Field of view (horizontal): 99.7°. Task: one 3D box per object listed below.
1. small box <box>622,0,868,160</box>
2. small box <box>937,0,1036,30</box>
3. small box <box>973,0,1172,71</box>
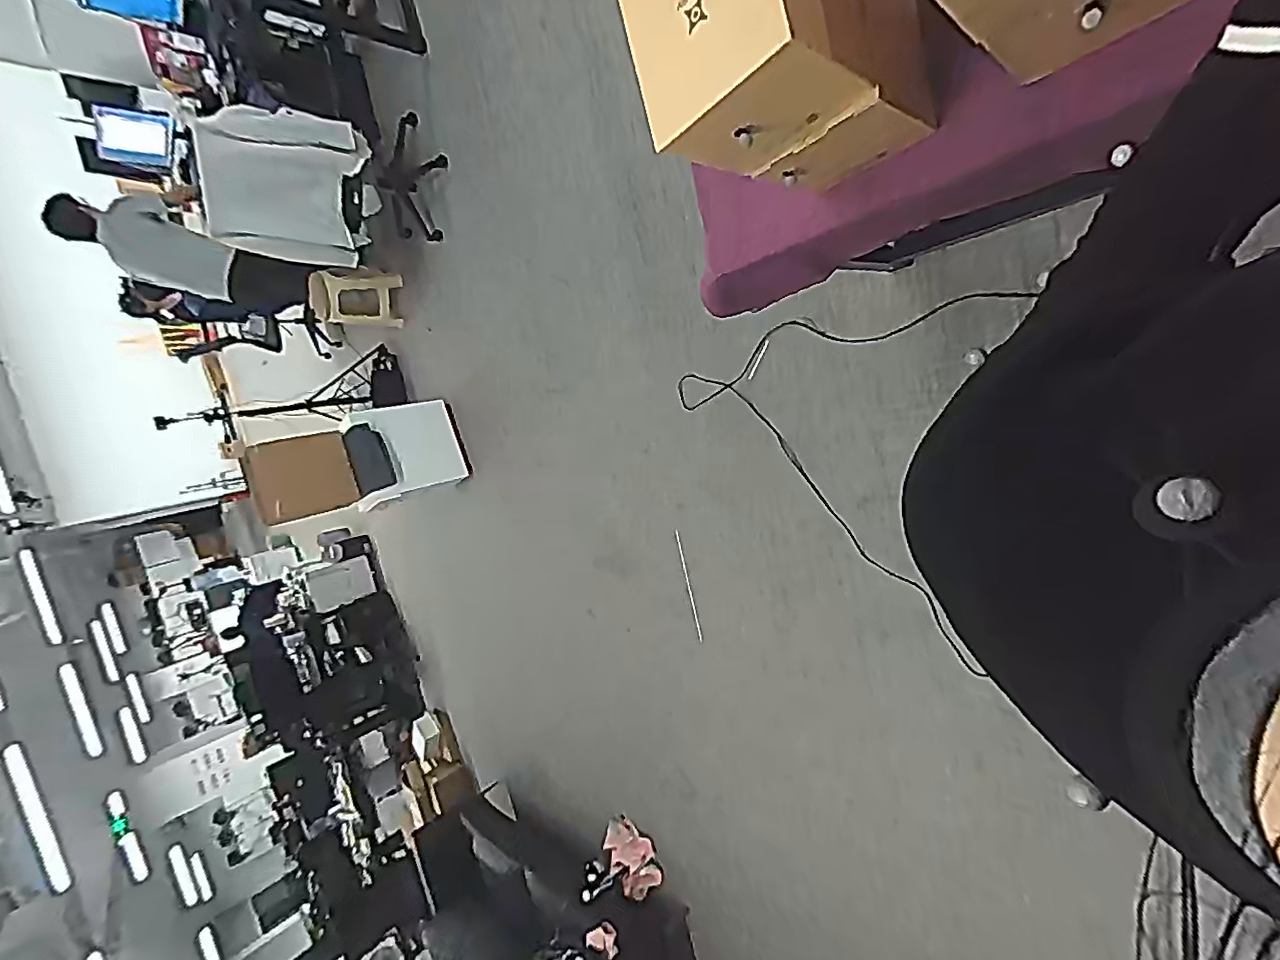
[{"bbox_3d":[0.110,-0.458,0.554,0.168,0.176,0.179,-11,94,49],"label":"small box"},{"bbox_3d":[0.283,-0.461,0.361,0.179,0.176,0.168,-3,100,48],"label":"small box"},{"bbox_3d":[0.400,-0.505,0.469,0.179,0.176,0.168,-7,99,48],"label":"small box"}]
